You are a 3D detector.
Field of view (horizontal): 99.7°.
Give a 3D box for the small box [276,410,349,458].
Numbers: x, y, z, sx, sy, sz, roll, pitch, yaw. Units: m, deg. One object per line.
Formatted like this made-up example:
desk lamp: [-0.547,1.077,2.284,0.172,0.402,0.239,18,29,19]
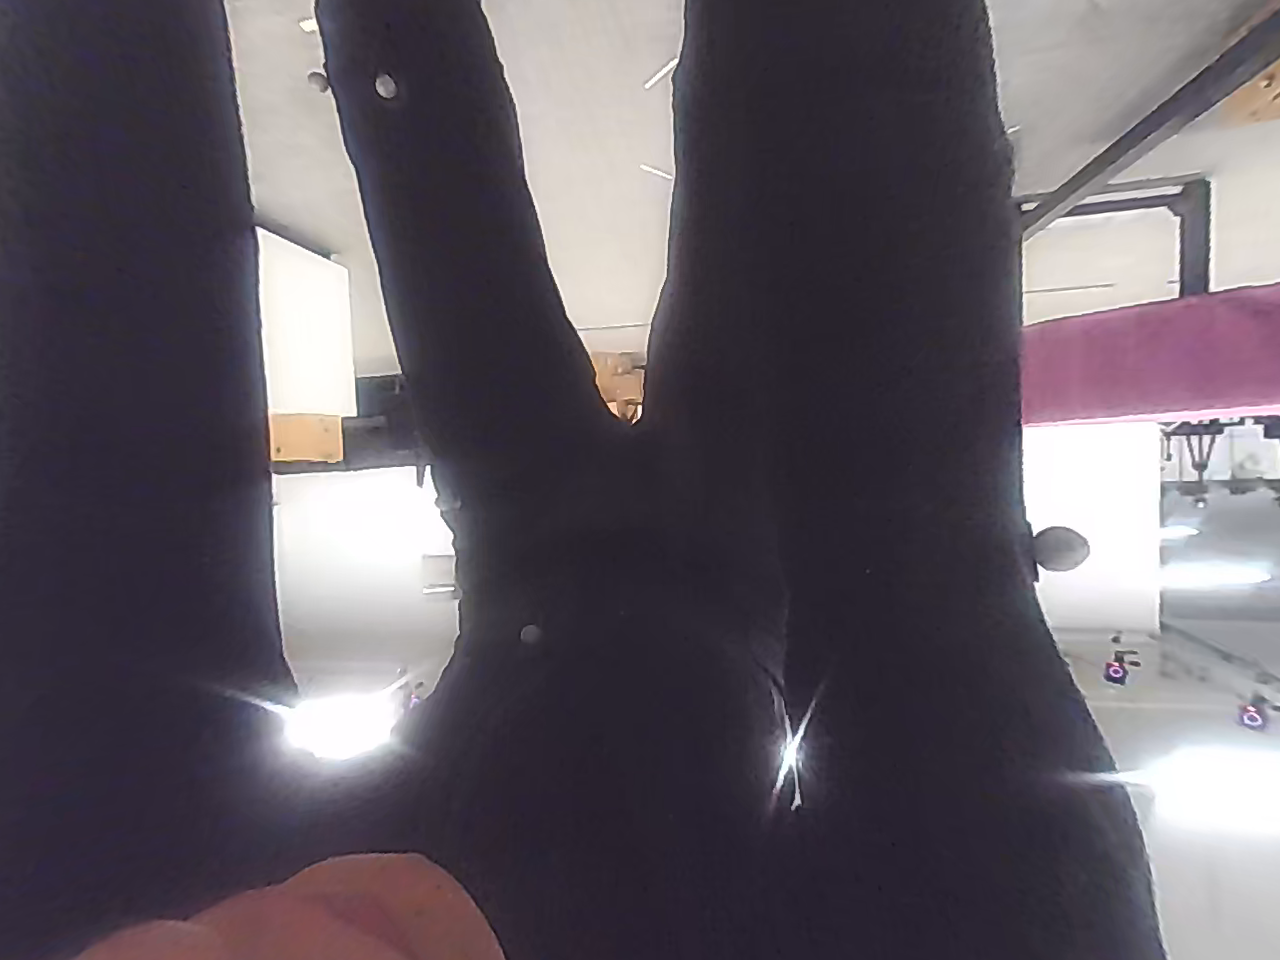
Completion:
small box: [-1.216,-0.168,2.009,0.179,0.176,0.168,-1,-176,10]
